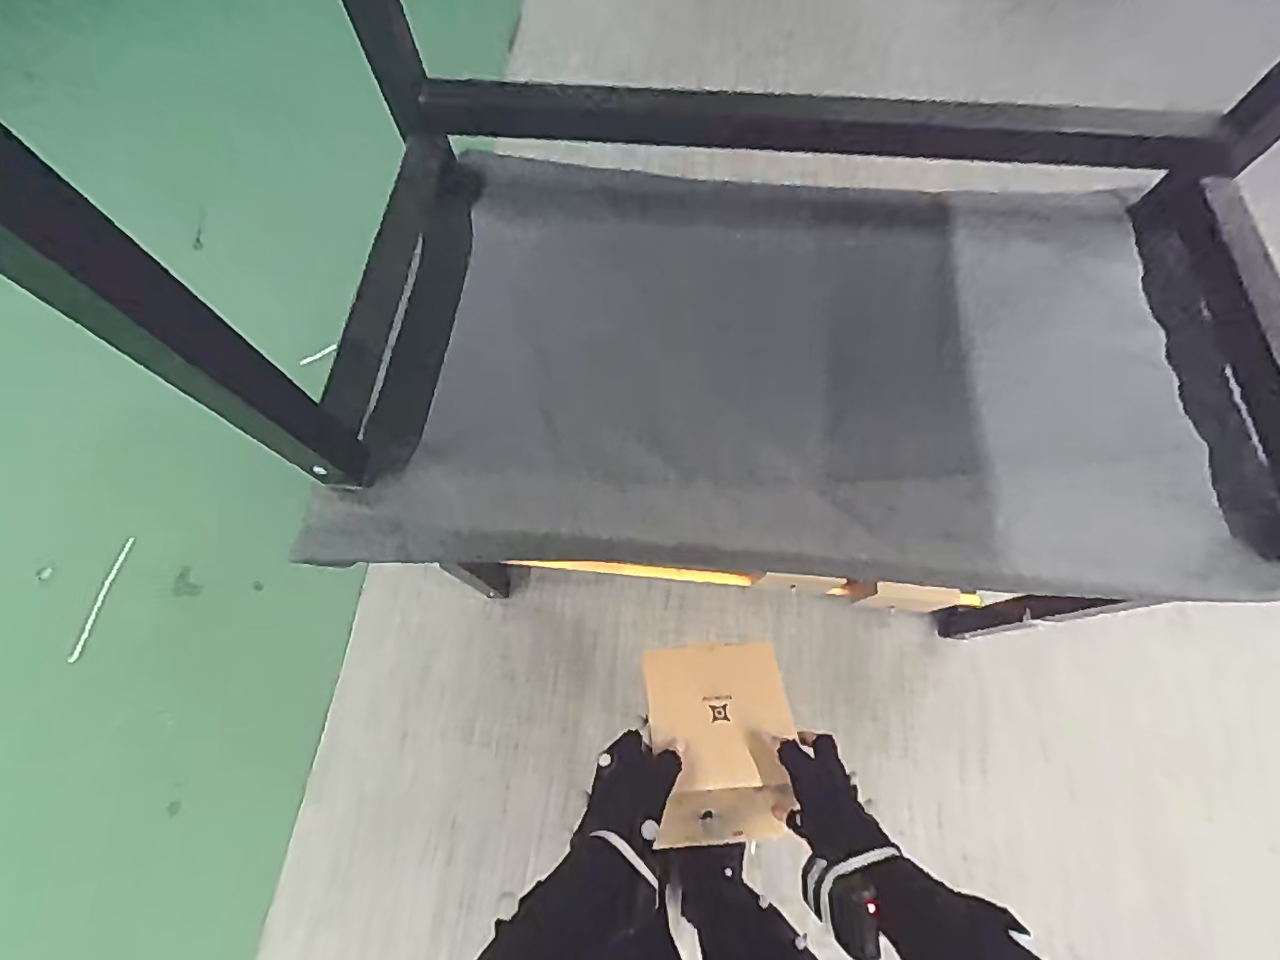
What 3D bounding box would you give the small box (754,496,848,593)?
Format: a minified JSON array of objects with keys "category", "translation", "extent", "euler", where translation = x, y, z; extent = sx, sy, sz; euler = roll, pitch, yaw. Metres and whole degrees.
[{"category":"small box","translation":[0.351,0.149,1.202],"extent":[0.168,0.176,0.179],"euler":[4,69,2]}]
